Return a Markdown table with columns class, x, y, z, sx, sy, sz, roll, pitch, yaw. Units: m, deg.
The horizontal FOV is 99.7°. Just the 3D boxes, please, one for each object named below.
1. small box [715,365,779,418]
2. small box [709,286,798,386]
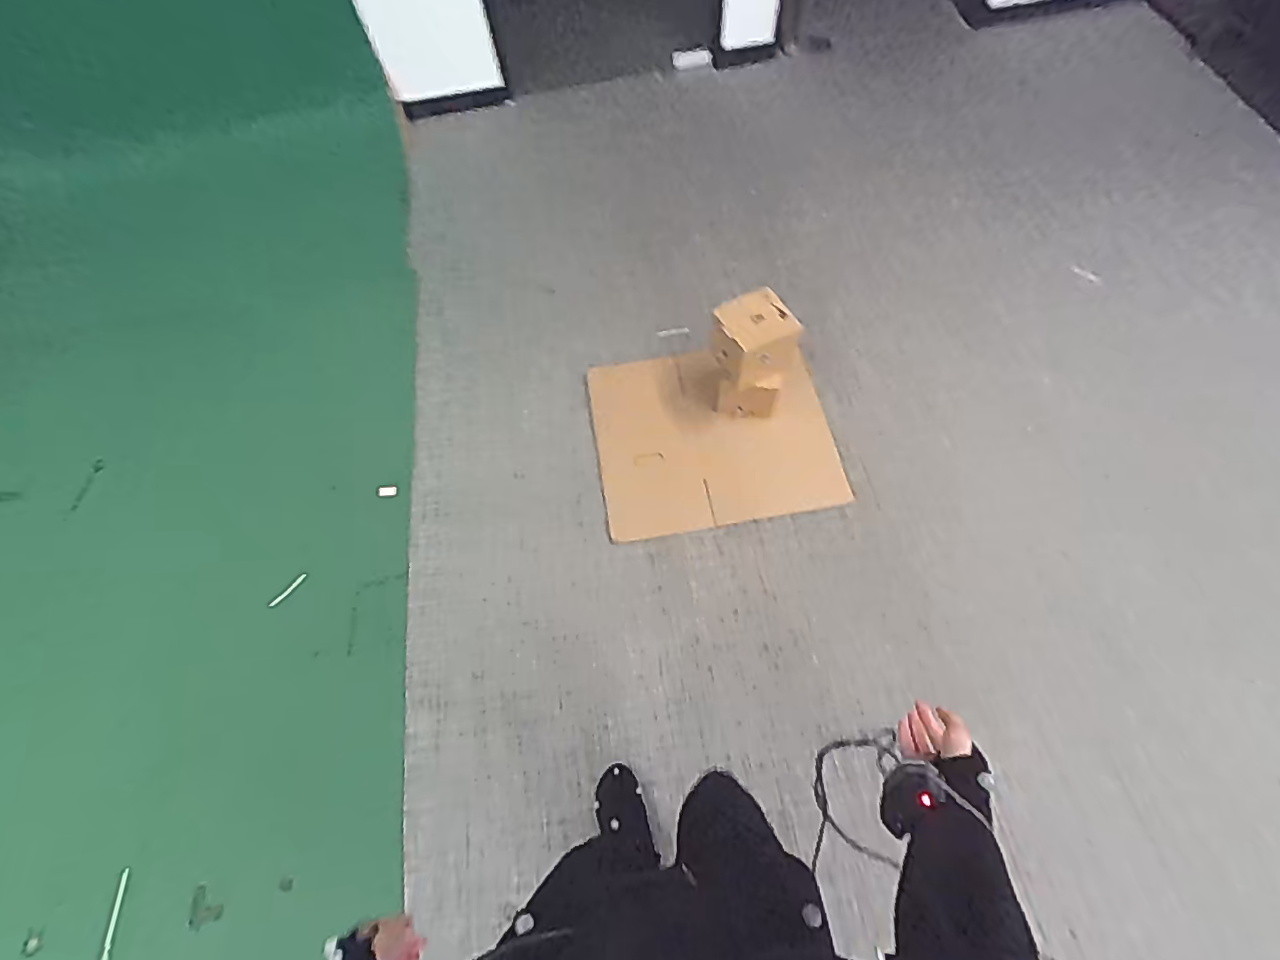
| class | x | y | z | sx | sy | sz | roll | pitch | yaw |
| --- | --- | --- | --- | --- | --- | --- | --- | --- | --- |
| small box | 0.320 | -0.309 | 1.615 | 0.168 | 0.176 | 0.179 | 8 | 65 | 7 |
| small box | 0.300 | -0.385 | 1.471 | 0.179 | 0.176 | 0.168 | -26 | 65 | -8 |
